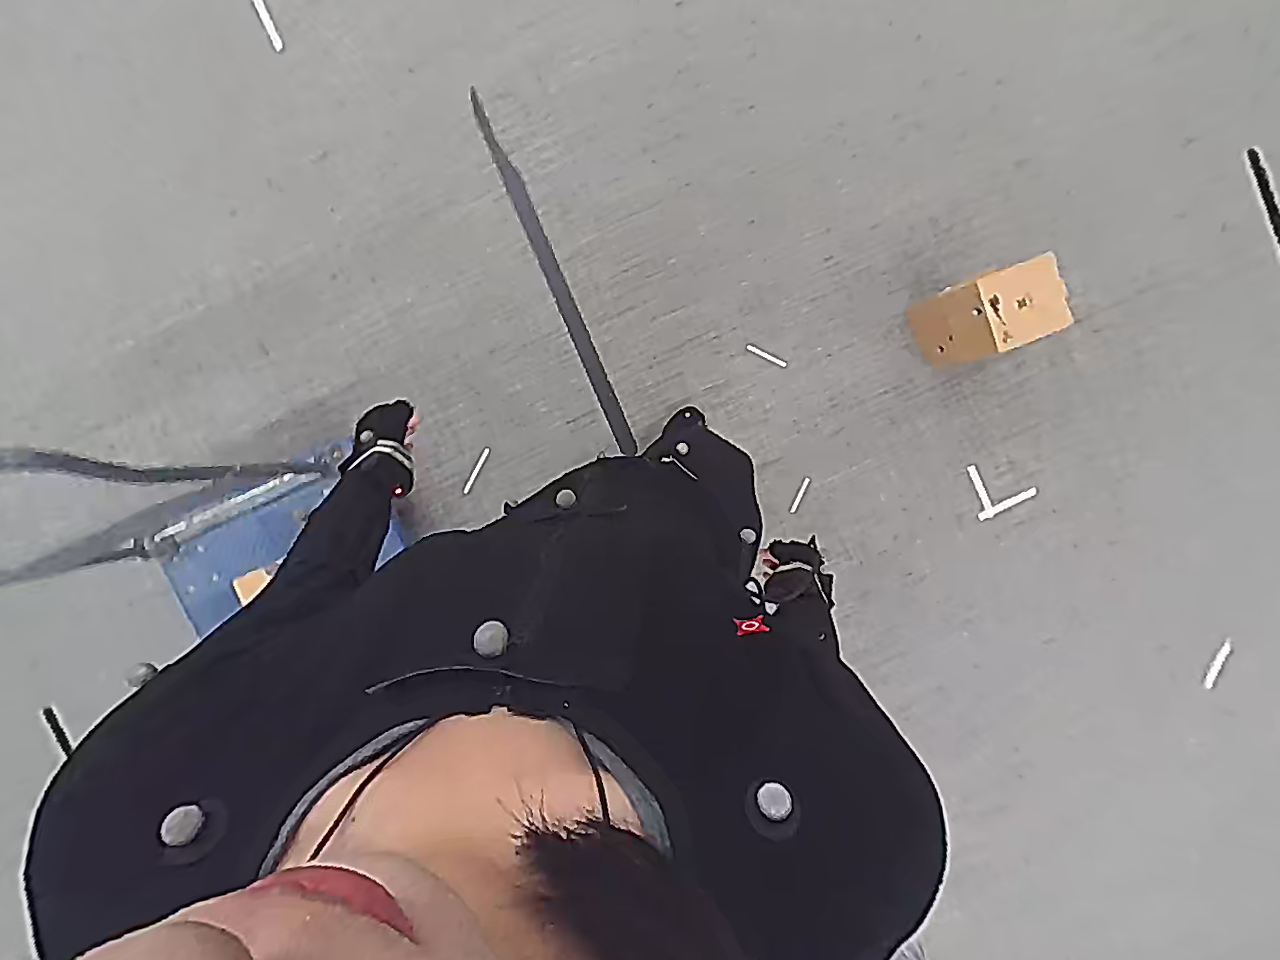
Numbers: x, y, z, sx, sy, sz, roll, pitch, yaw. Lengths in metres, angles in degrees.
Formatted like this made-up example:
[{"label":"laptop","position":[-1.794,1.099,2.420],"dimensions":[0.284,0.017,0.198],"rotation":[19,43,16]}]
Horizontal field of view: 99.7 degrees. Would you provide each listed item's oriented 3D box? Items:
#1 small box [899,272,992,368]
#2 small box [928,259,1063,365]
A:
[{"label":"small box","position":[0.817,-0.405,1.406],"dimensions":[0.168,0.176,0.179],"rotation":[-28,94,1]},{"label":"small box","position":[0.809,-0.378,1.244],"dimensions":[0.179,0.176,0.168],"rotation":[-21,95,0]}]
